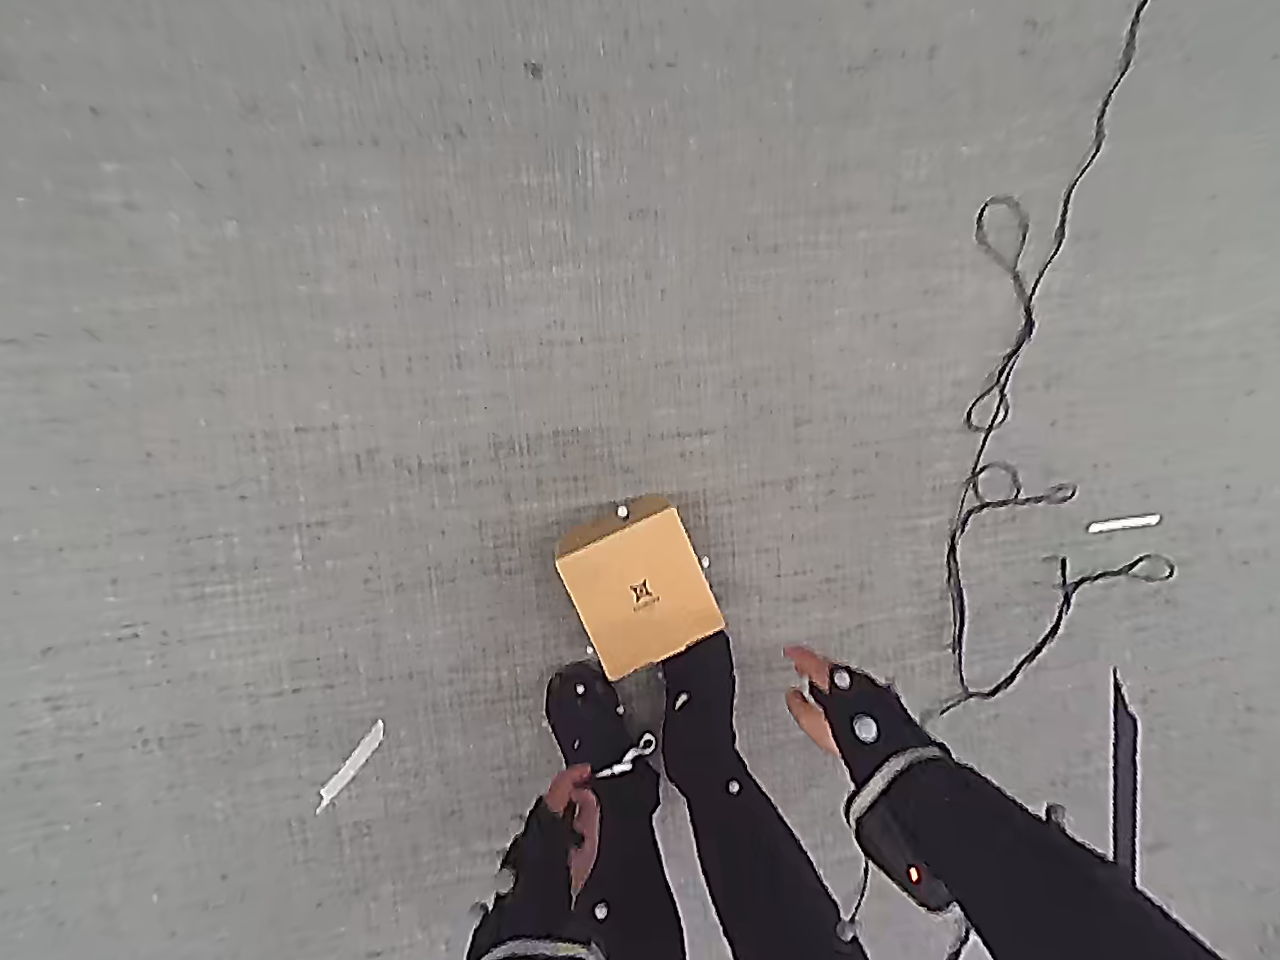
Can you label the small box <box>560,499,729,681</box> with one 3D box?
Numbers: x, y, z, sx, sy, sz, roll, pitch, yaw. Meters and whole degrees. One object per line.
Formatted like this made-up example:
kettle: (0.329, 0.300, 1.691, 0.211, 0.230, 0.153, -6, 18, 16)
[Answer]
small box: (-0.004, 0.135, 0.749, 0.168, 0.176, 0.179, -25, 98, -5)
